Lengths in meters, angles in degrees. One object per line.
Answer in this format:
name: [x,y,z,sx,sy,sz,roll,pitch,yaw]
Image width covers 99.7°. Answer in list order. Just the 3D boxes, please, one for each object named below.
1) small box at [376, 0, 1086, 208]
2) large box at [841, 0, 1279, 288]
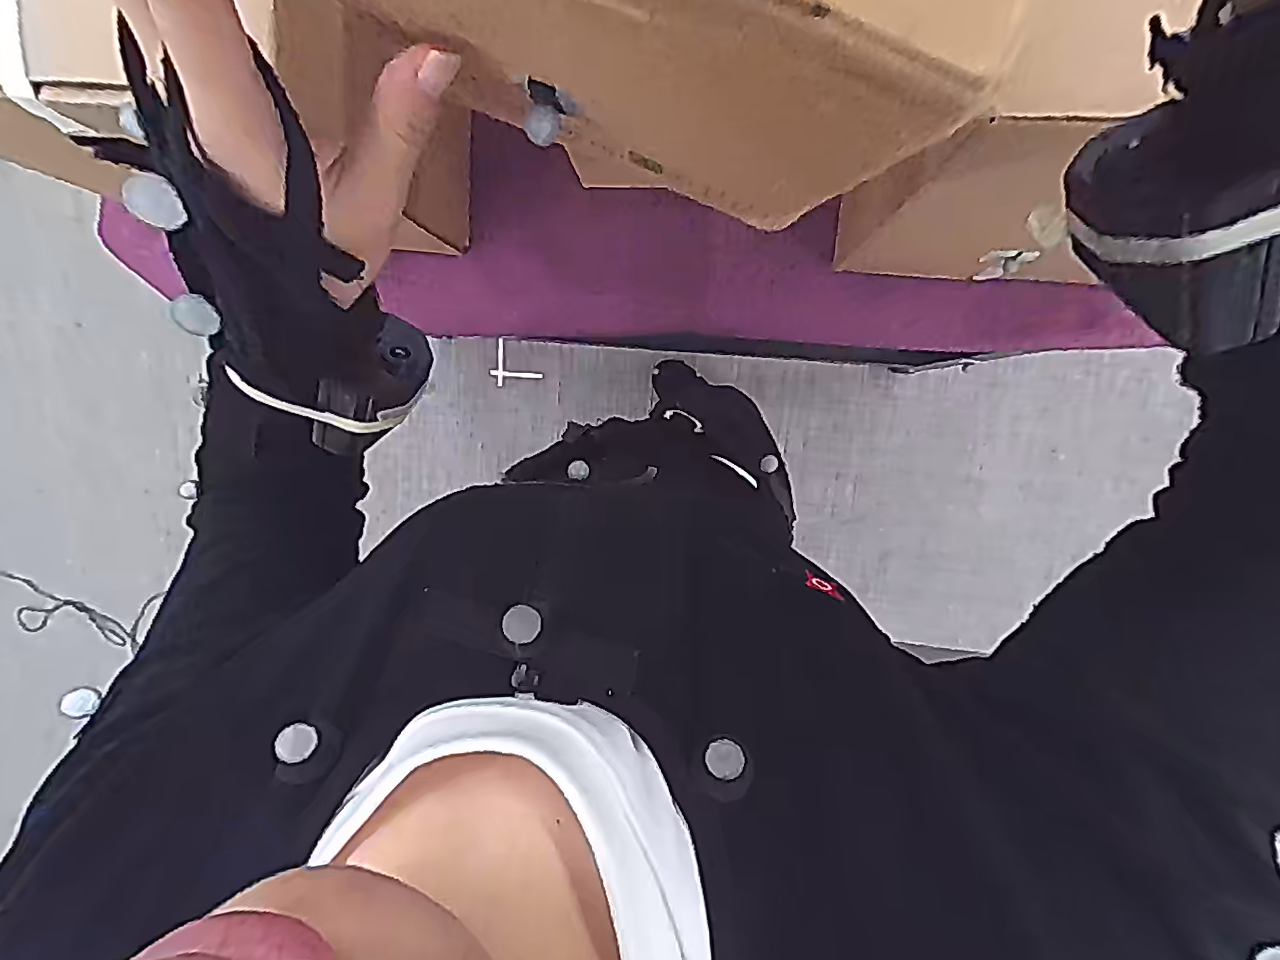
small box: [0.014,-0.189,0.120,0.168,0.176,0.179,19,108,-6]
large box: [0.357,-0.381,0.392,0.320,0.320,0.408,5,97,4]
